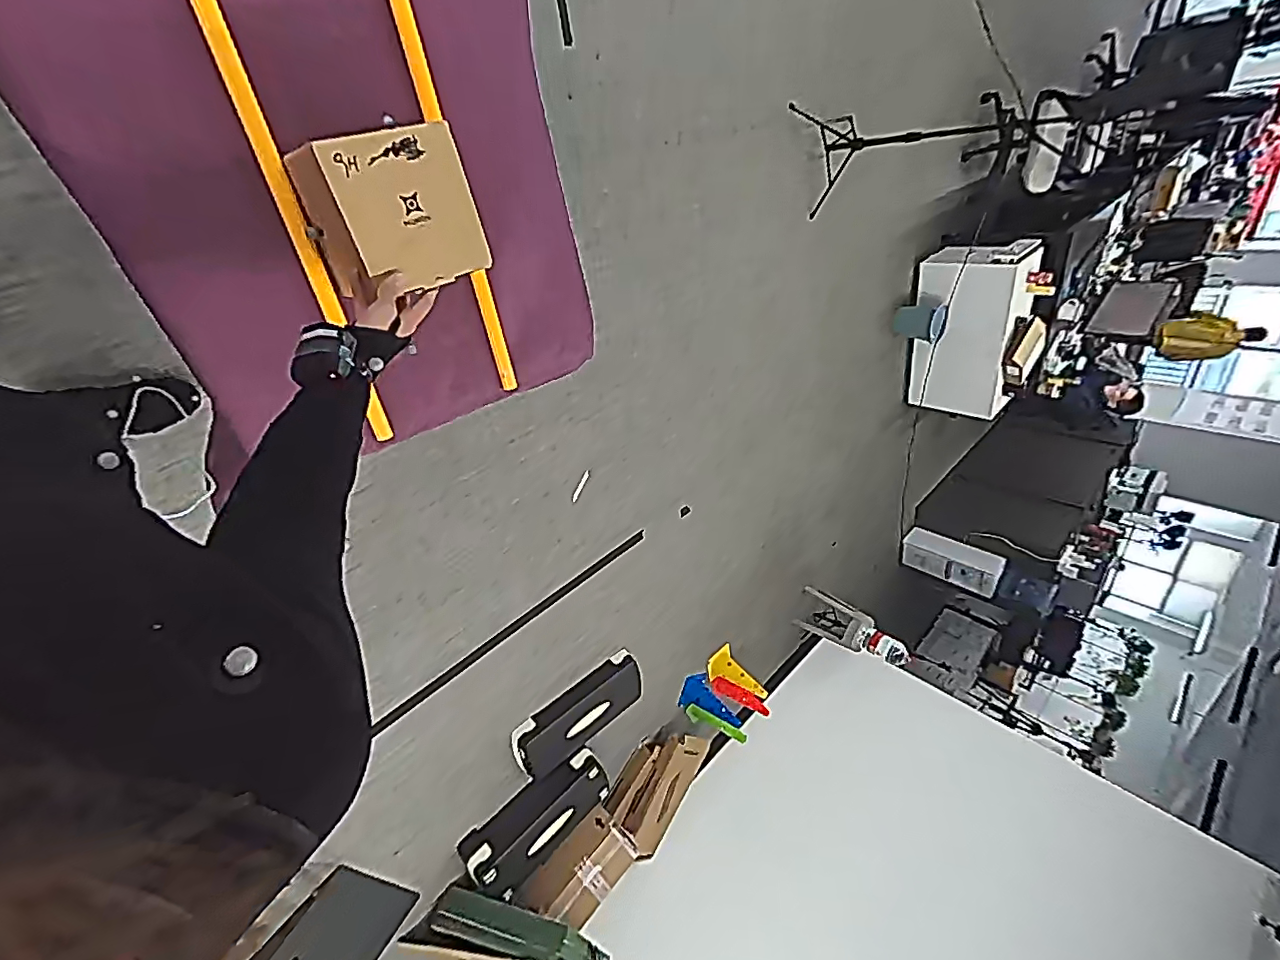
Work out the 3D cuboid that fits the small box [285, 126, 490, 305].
[{"bbox_3d":[-0.334,-0.351,0.722,0.168,0.176,0.179,-33,128,-30],"label":"small box"}]
